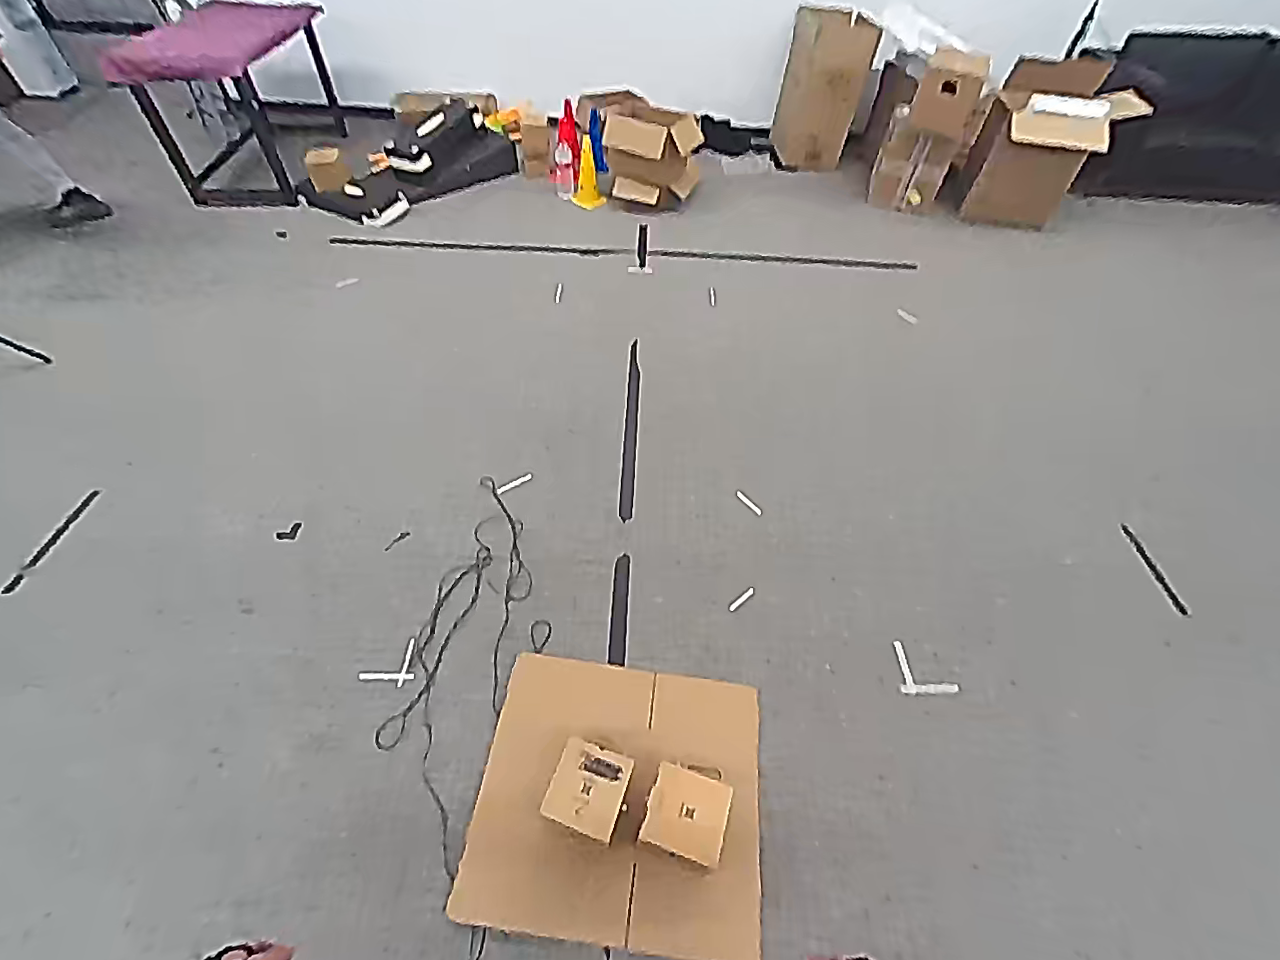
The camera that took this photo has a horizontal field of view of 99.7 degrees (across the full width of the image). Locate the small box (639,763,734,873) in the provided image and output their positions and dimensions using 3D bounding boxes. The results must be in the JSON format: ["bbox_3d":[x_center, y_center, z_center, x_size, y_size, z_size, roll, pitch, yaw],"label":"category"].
[{"bbox_3d":[0.105,0.797,1.270,0.179,0.176,0.168,16,51,11],"label":"small box"}]
